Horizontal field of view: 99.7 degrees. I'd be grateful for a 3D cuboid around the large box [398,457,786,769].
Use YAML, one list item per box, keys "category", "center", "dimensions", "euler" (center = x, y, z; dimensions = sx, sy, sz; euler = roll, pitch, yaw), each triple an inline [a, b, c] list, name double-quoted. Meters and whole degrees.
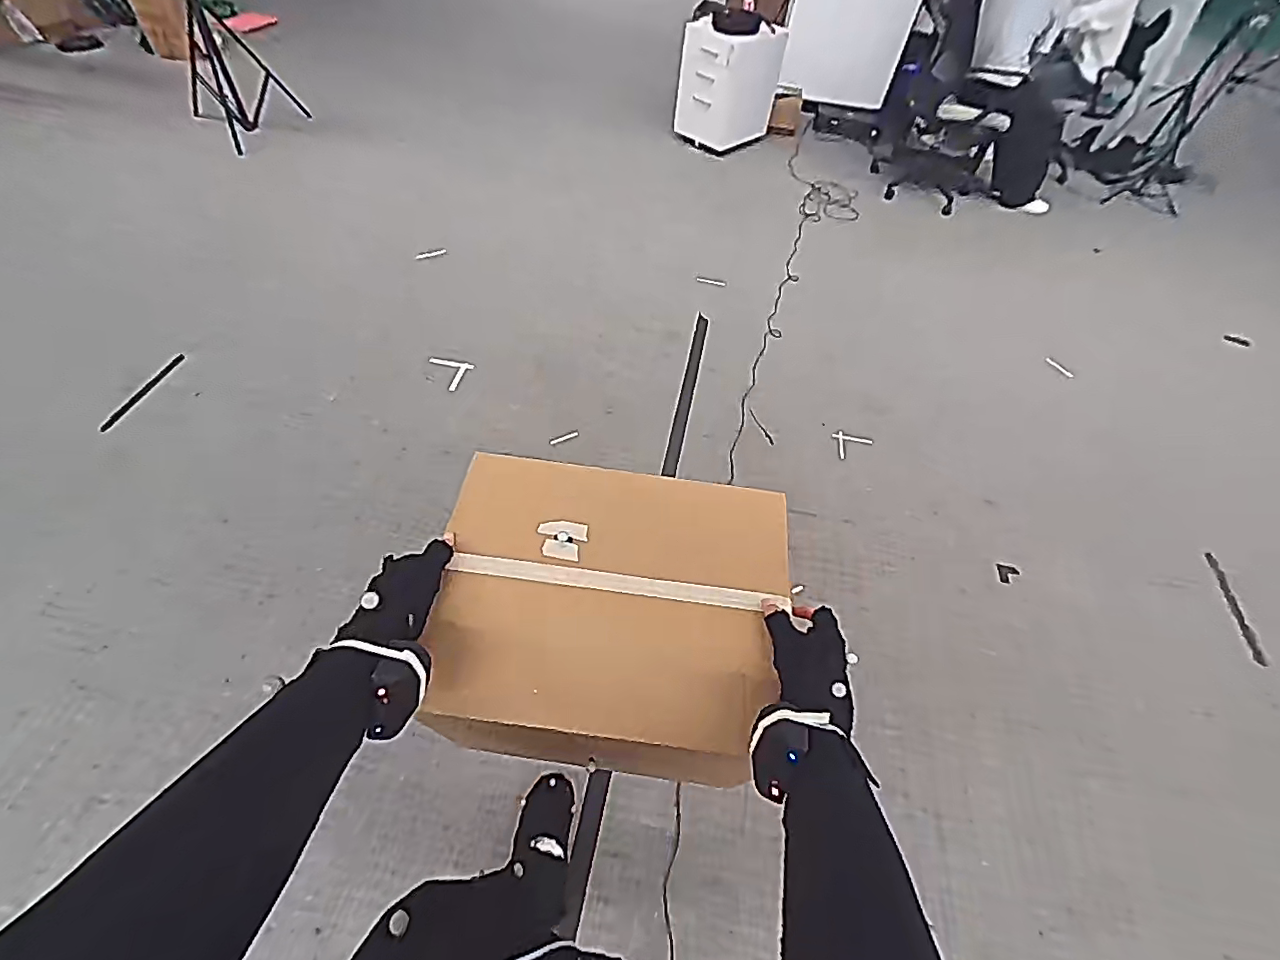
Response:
- category: "large box"
  center: [-0.040, 0.198, 0.750]
  dimensions: [0.408, 0.320, 0.320]
  euler: [7, 56, 1]
